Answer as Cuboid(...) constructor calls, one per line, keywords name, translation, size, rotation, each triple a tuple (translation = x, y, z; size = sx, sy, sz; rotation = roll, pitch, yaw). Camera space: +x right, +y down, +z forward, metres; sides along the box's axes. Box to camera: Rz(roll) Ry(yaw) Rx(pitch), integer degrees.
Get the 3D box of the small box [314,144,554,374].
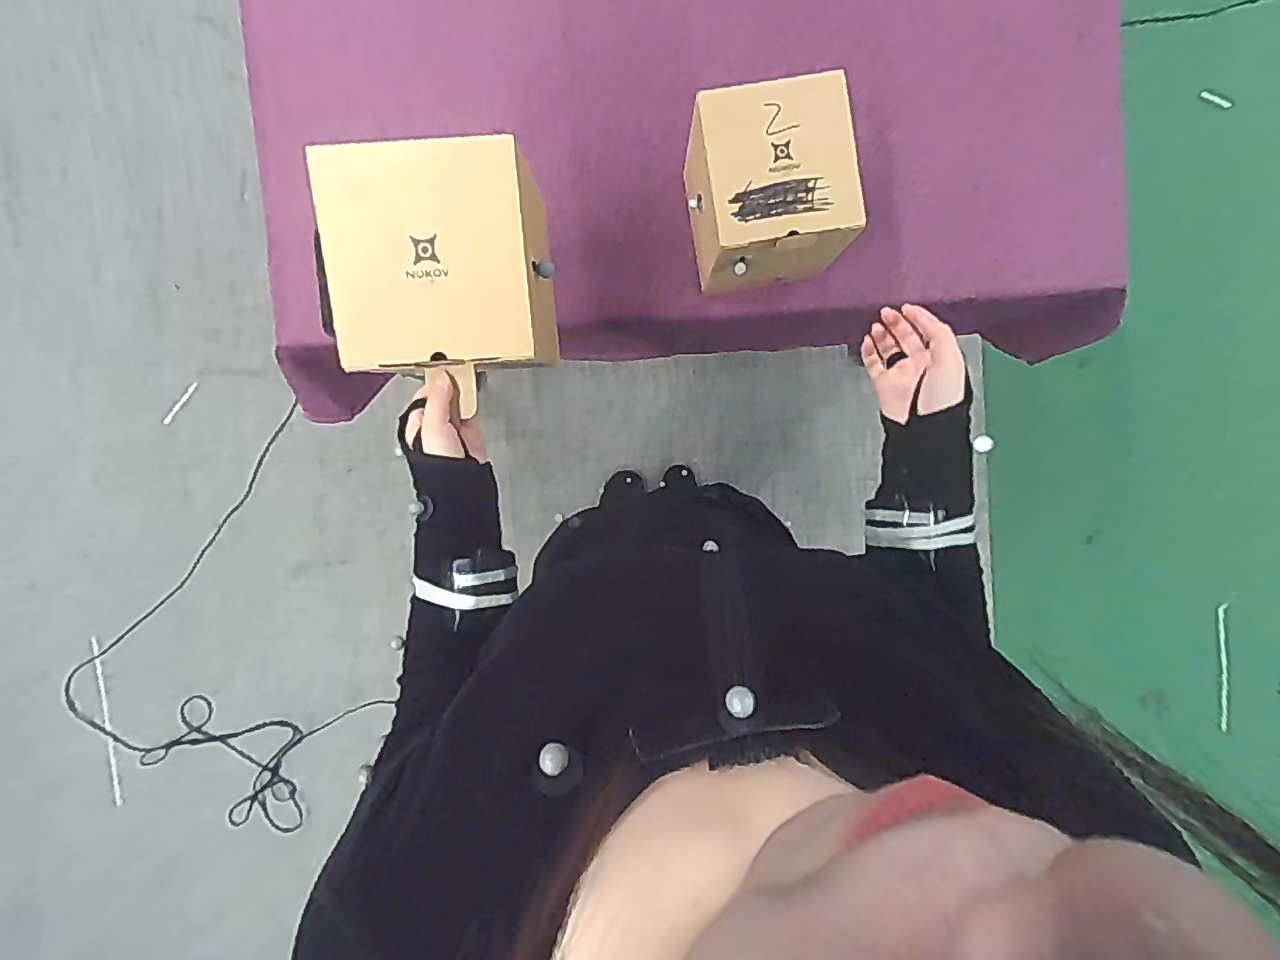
Cuboid(name="small box", translation=(-0.180, -0.198, 0.529), size=(0.168, 0.176, 0.179), rotation=(-4, 101, -1))
